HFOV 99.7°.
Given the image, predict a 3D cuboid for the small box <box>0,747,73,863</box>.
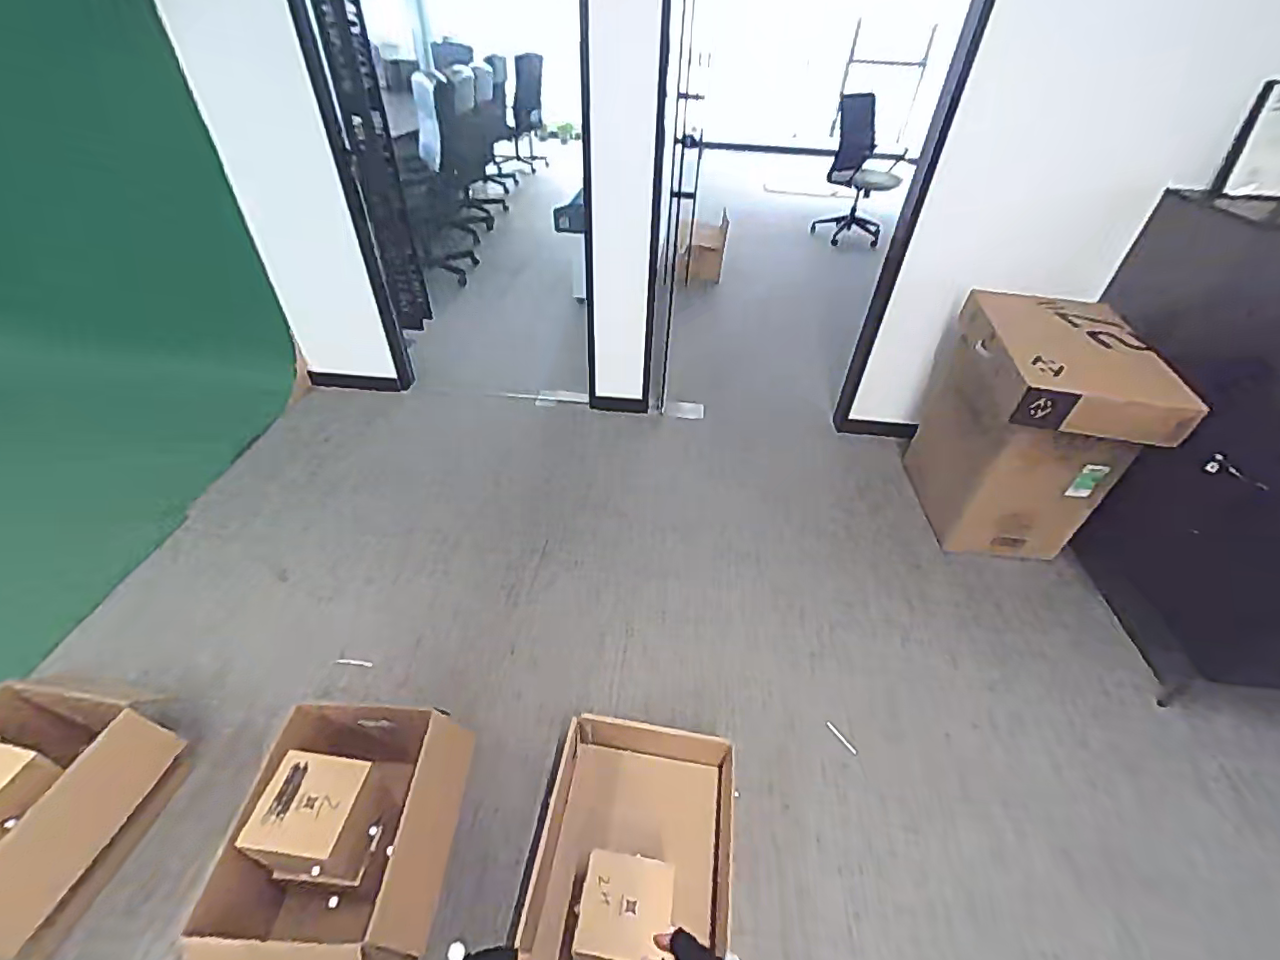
[{"bbox_3d":[-1.291,0.630,1.050,0.179,0.176,0.168,10,40,5],"label":"small box"}]
